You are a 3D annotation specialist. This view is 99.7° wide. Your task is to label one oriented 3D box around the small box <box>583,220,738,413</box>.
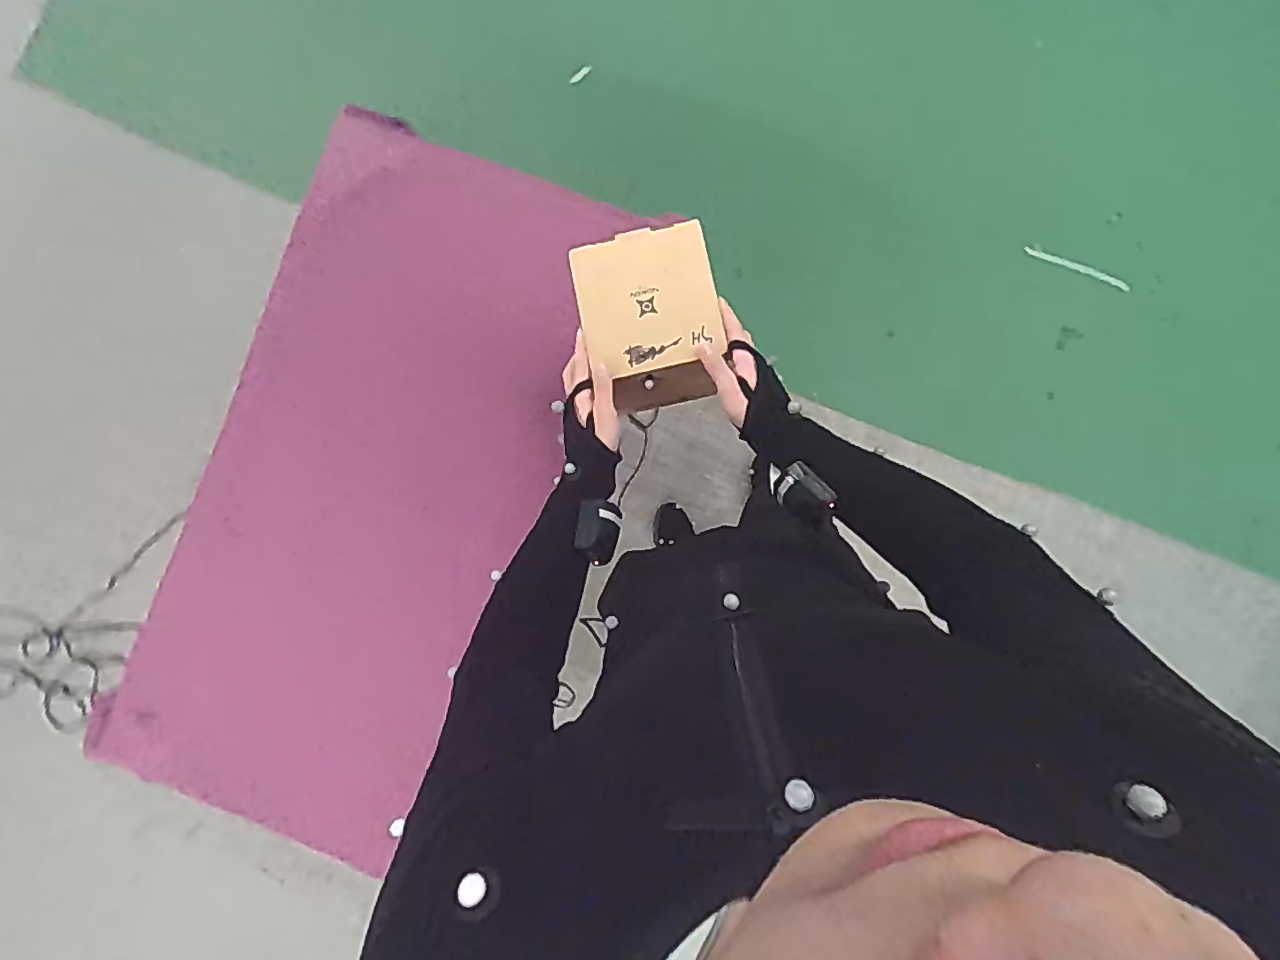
[{"bbox_3d":[0.029,-0.205,0.721,0.168,0.176,0.179,-11,83,5],"label":"small box"}]
